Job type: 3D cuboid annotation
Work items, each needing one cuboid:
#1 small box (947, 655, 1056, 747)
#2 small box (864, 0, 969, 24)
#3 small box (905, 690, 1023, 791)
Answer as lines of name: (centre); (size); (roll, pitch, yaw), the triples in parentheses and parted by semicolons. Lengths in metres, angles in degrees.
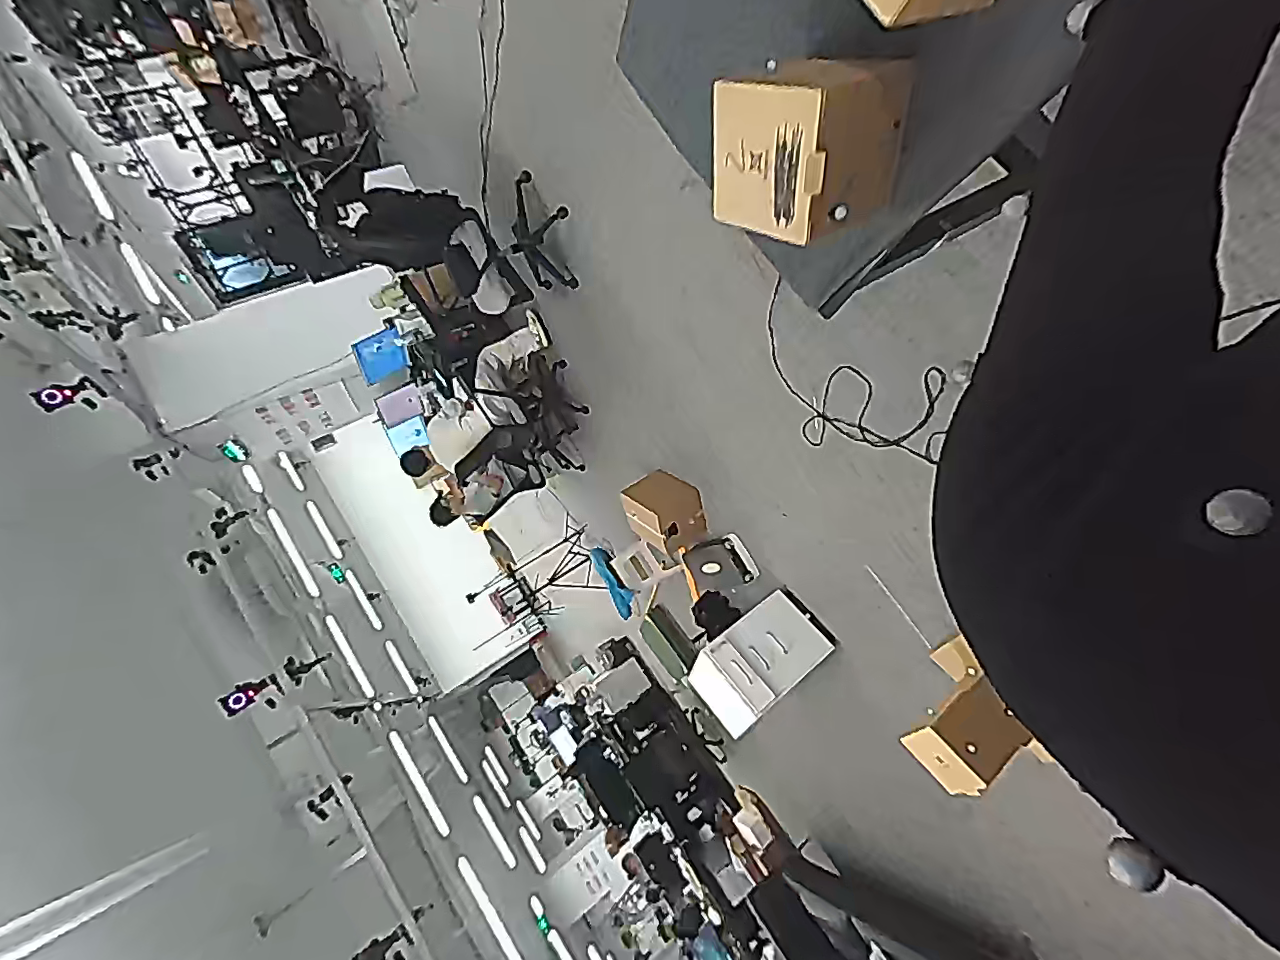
small box: (1.002, 0.625, 1.510); (0.179, 0.176, 0.168); (48, 154, 26)
small box: (0.272, -0.551, 0.468); (0.179, 0.176, 0.168); (57, 158, 7)
small box: (0.866, 0.692, 1.451); (0.179, 0.176, 0.168); (47, 153, 25)
